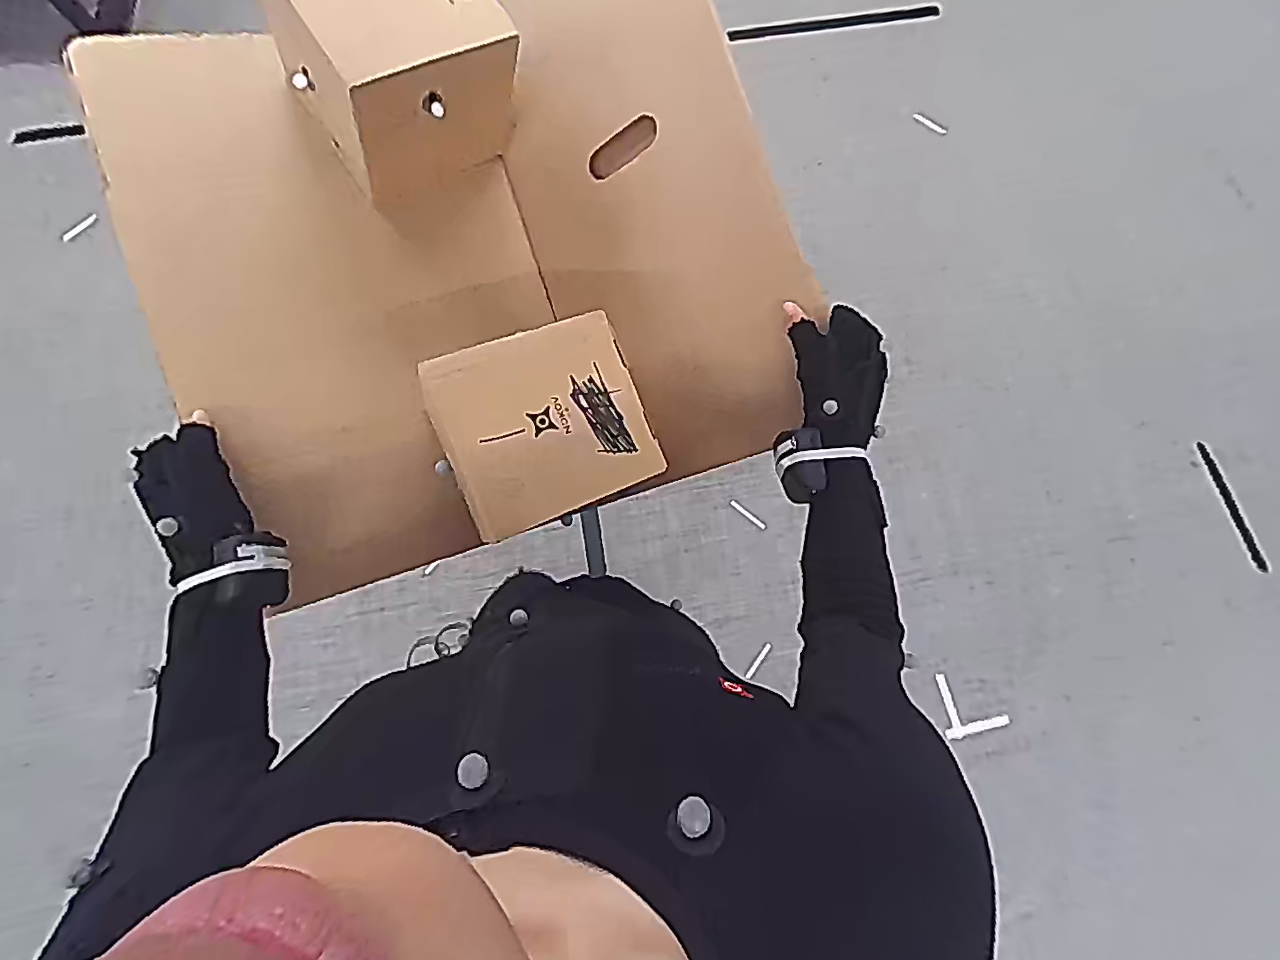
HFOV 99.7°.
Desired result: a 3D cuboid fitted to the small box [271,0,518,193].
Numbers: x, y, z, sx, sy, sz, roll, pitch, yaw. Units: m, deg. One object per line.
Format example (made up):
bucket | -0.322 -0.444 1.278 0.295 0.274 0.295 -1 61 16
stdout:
small box | -0.250 -0.436 0.558 0.179 0.176 0.168 -35 96 -20
